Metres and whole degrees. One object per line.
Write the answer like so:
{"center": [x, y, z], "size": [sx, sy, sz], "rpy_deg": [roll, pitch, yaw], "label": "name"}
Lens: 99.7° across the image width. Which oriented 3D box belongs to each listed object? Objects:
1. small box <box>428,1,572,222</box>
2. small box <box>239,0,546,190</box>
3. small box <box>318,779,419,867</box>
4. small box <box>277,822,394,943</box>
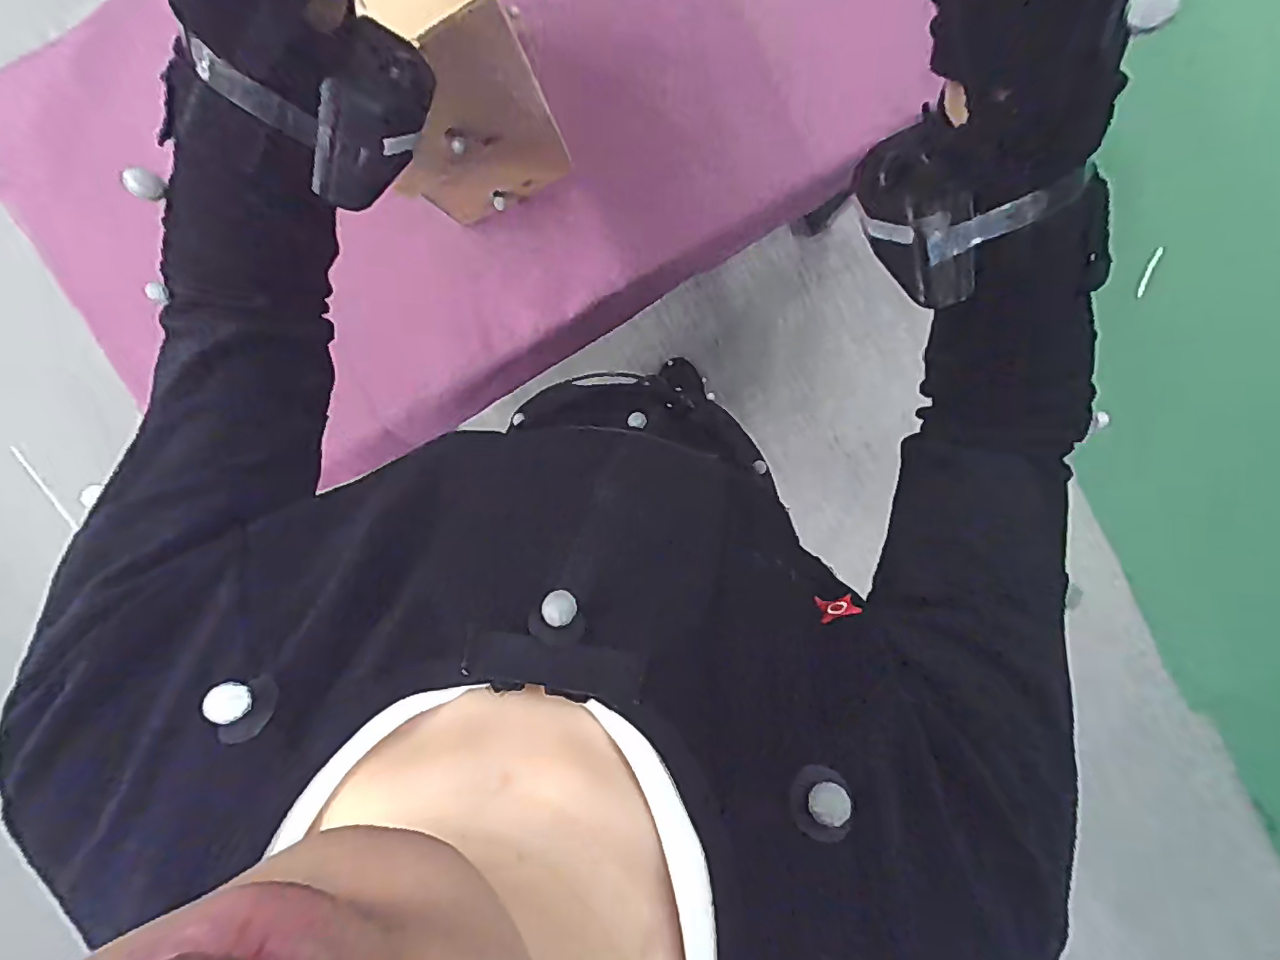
{"center": [-0.193, -0.423, 0.599], "size": [0.168, 0.176, 0.179], "rpy_deg": [-24, 98, 7], "label": "small box"}
{"center": [-0.200, -0.381, 0.440], "size": [0.168, 0.176, 0.179], "rpy_deg": [-26, 97, 8], "label": "small box"}
{"center": [-0.797, 1.042, 1.609], "size": [0.168, 0.176, 0.179], "rpy_deg": [-30, 97, 7], "label": "small box"}
{"center": [-0.805, 1.068, 1.447], "size": [0.179, 0.176, 0.168], "rpy_deg": [-30, 97, 8], "label": "small box"}
